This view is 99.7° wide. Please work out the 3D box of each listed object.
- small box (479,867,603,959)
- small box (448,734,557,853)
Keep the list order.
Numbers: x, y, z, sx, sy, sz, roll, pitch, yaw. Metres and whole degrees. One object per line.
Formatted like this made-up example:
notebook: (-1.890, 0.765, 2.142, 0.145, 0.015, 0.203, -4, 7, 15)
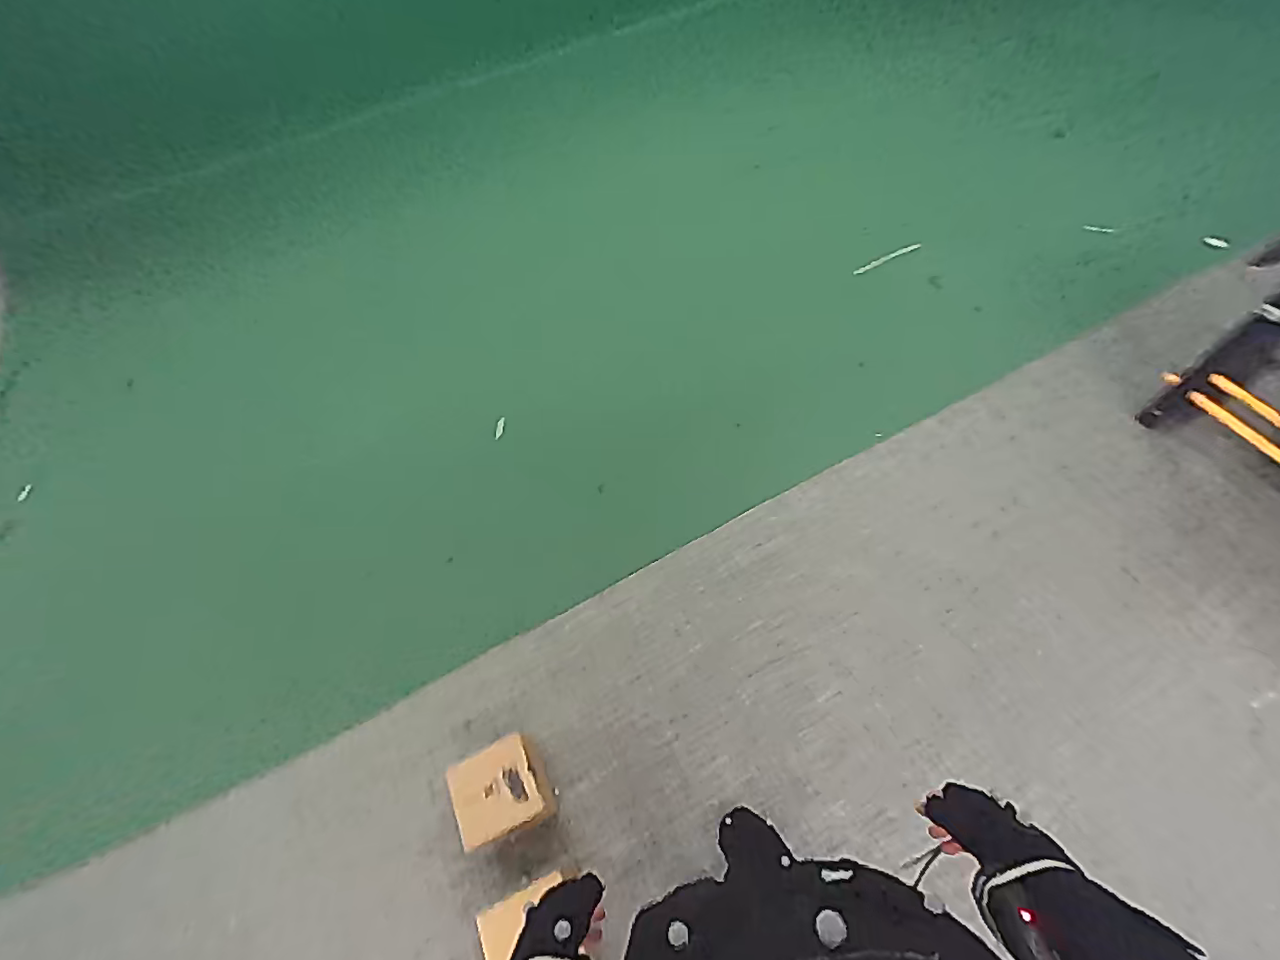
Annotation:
small box: (-0.190, 0.899, 1.068, 0.179, 0.176, 0.168, -24, 59, -10)
small box: (-0.297, 0.693, 1.204, 0.179, 0.176, 0.168, -25, 60, -9)
